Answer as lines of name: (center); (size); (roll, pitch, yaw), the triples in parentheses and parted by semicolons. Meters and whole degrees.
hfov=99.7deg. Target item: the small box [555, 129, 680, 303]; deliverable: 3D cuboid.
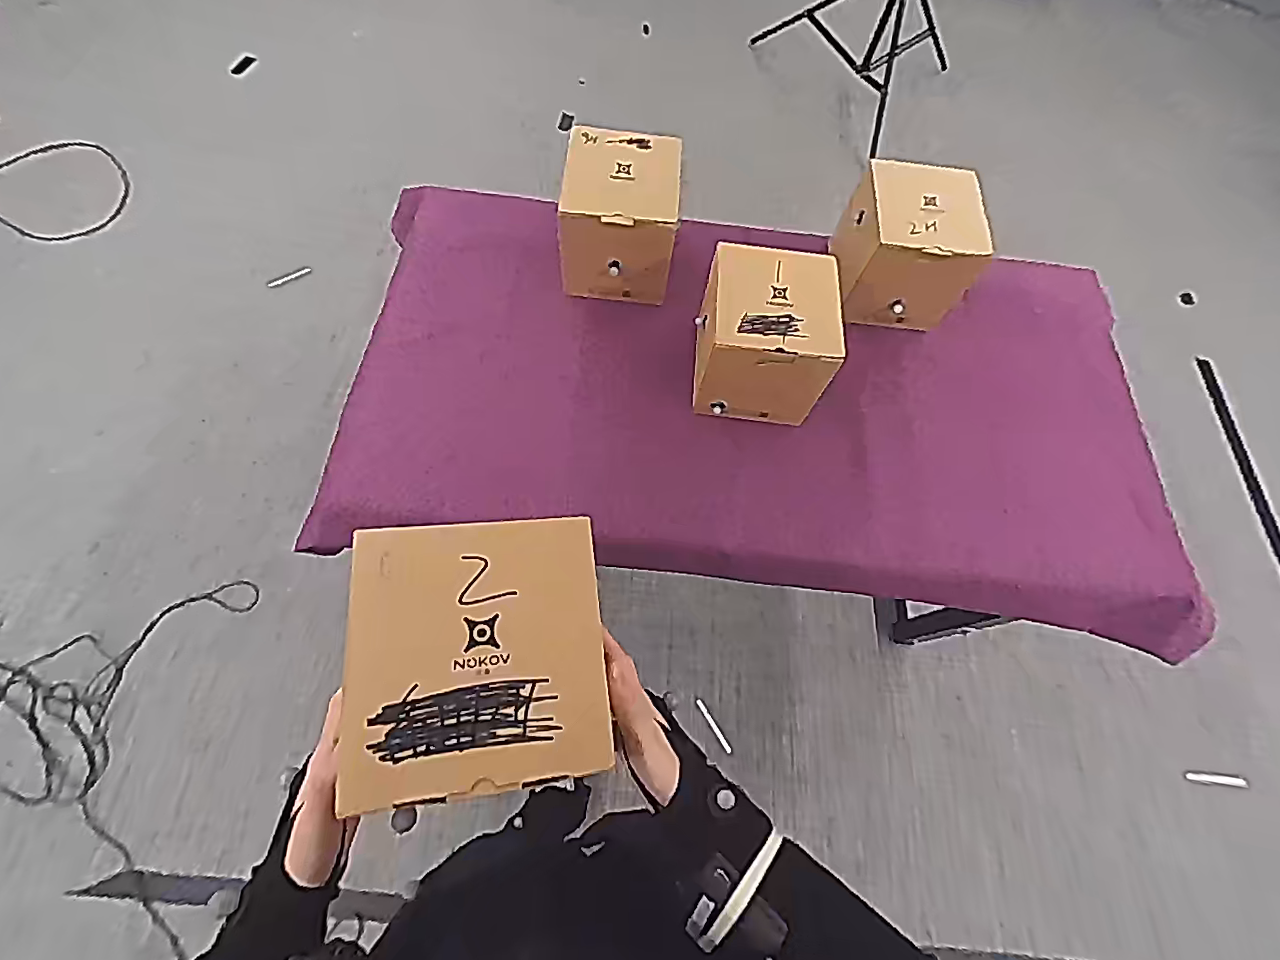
small box: (-0.033, -0.401, 0.843); (0.168, 0.176, 0.179); (5, 69, -3)

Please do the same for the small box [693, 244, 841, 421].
small box: (0.172, -0.203, 0.776); (0.168, 0.176, 0.179); (6, 66, -2)

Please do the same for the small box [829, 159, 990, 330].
small box: (0.413, -0.370, 0.864); (0.168, 0.176, 0.179); (5, 68, -1)
